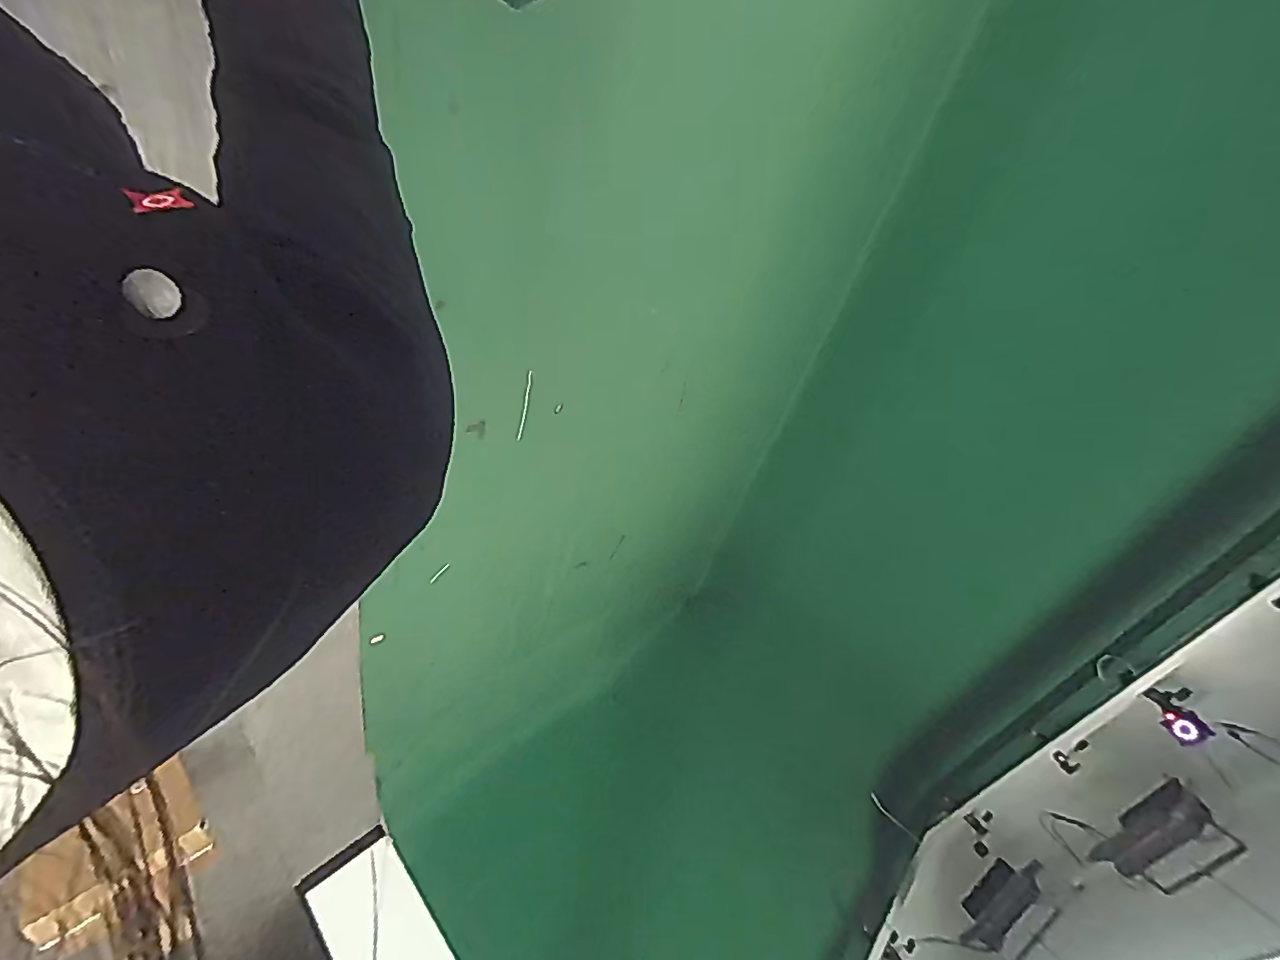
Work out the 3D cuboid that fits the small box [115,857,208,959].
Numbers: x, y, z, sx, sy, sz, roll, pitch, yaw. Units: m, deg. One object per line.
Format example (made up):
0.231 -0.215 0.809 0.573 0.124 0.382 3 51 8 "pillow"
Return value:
-1.485 1.333 1.676 0.179 0.176 0.168 -23 136 -41 "small box"
